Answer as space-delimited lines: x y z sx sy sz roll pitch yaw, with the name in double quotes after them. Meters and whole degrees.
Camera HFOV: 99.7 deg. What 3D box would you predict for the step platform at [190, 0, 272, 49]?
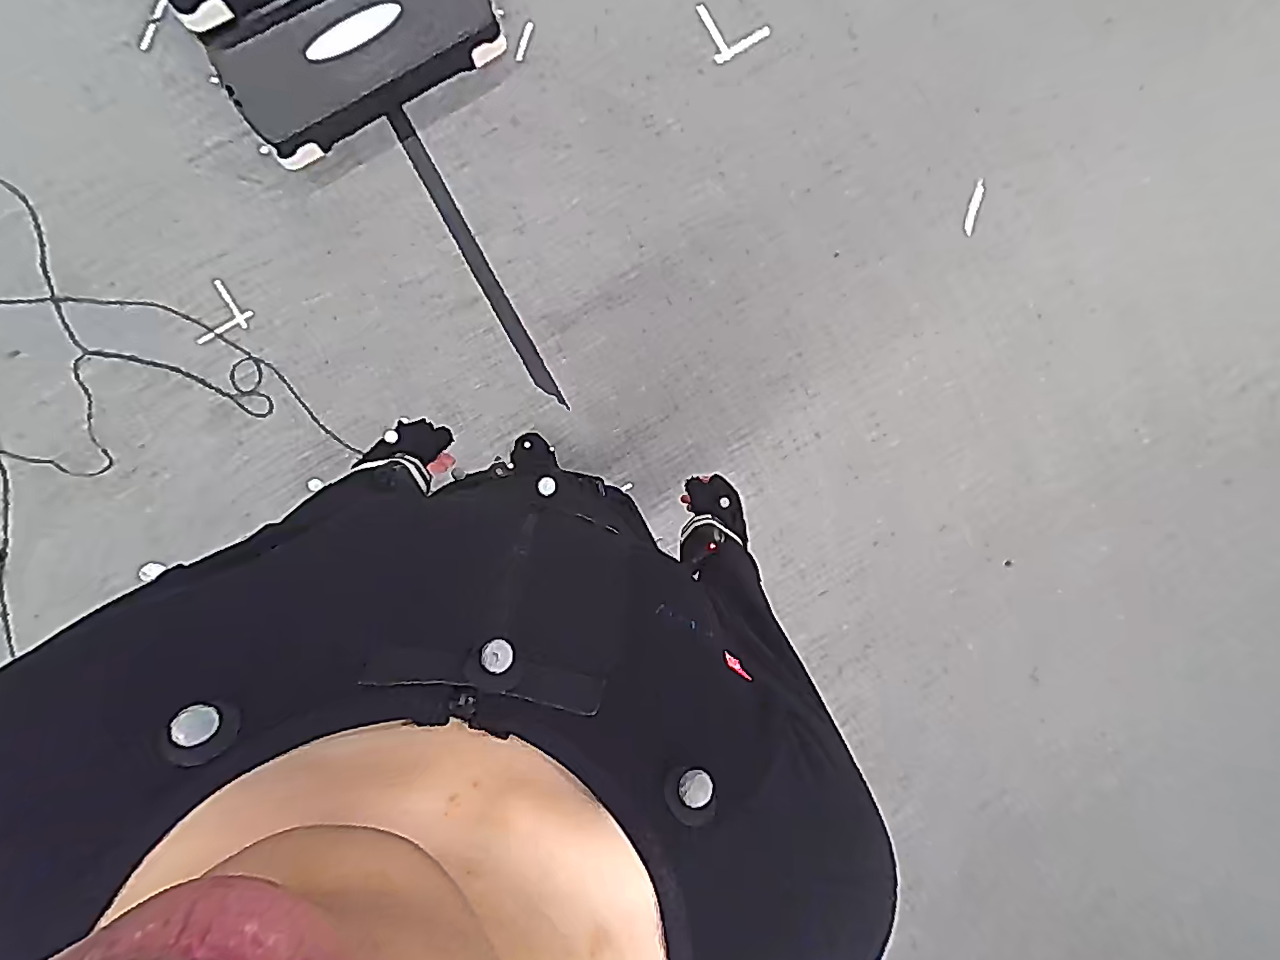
-0.795 -1.350 1.269 0.684 0.204 0.286 -31 95 -4 "step platform"
